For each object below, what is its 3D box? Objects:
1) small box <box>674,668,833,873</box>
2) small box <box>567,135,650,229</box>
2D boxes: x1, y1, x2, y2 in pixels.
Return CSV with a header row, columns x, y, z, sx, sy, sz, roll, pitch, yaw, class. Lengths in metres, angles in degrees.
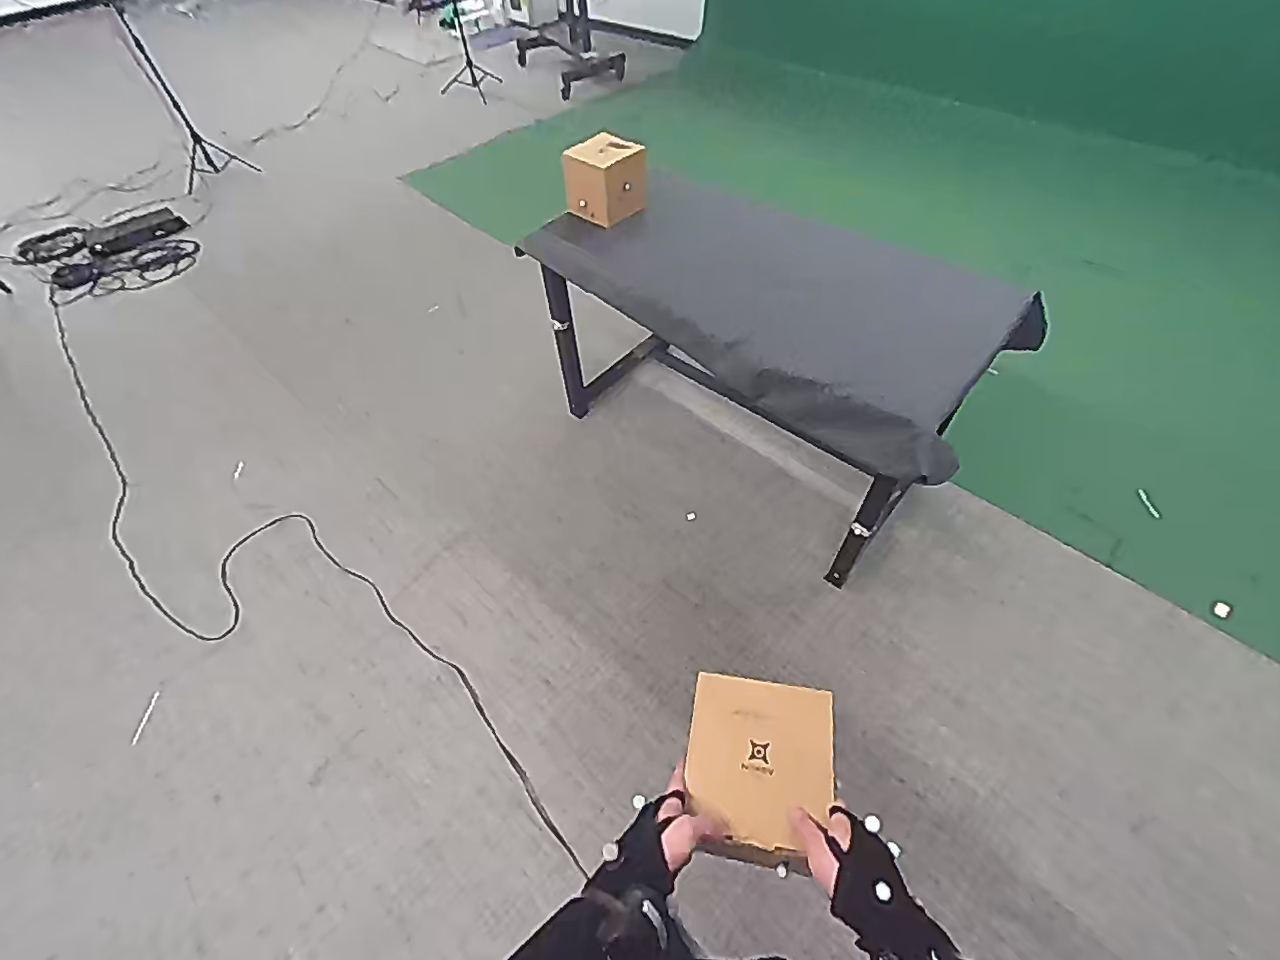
x,y,z,sx,sy,sz,roll,pitch,yaw,class
0.142,0.360,0.668,0.168,0.176,0.179,5,49,12,small box
-0.089,-0.866,1.572,0.168,0.176,0.179,34,61,25,small box
